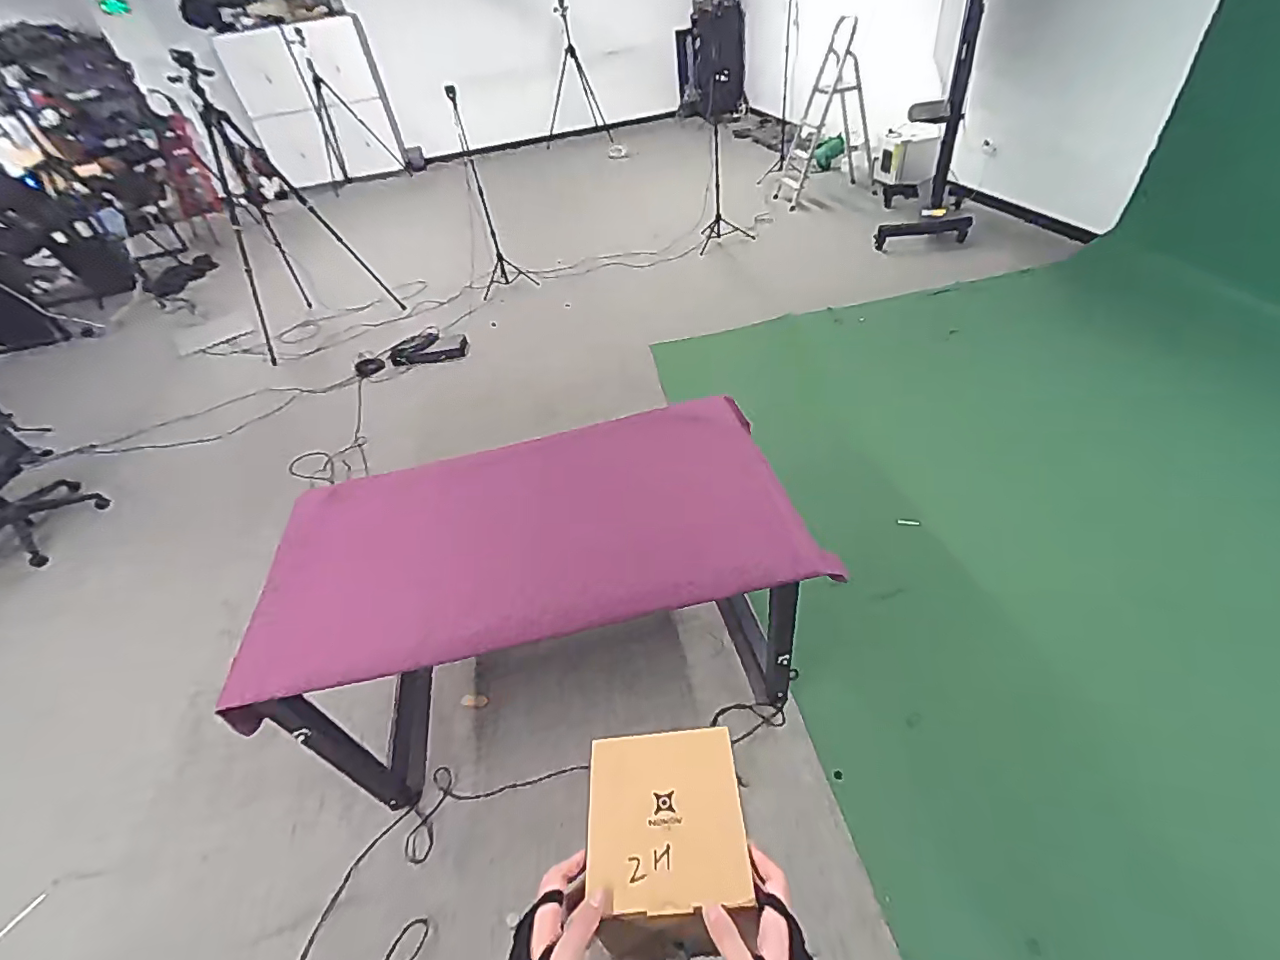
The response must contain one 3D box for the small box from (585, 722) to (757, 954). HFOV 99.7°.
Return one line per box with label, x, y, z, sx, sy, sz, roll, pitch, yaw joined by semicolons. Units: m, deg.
small box;0.038;0.413;0.628;0.168;0.176;0.179;-8;37;5
